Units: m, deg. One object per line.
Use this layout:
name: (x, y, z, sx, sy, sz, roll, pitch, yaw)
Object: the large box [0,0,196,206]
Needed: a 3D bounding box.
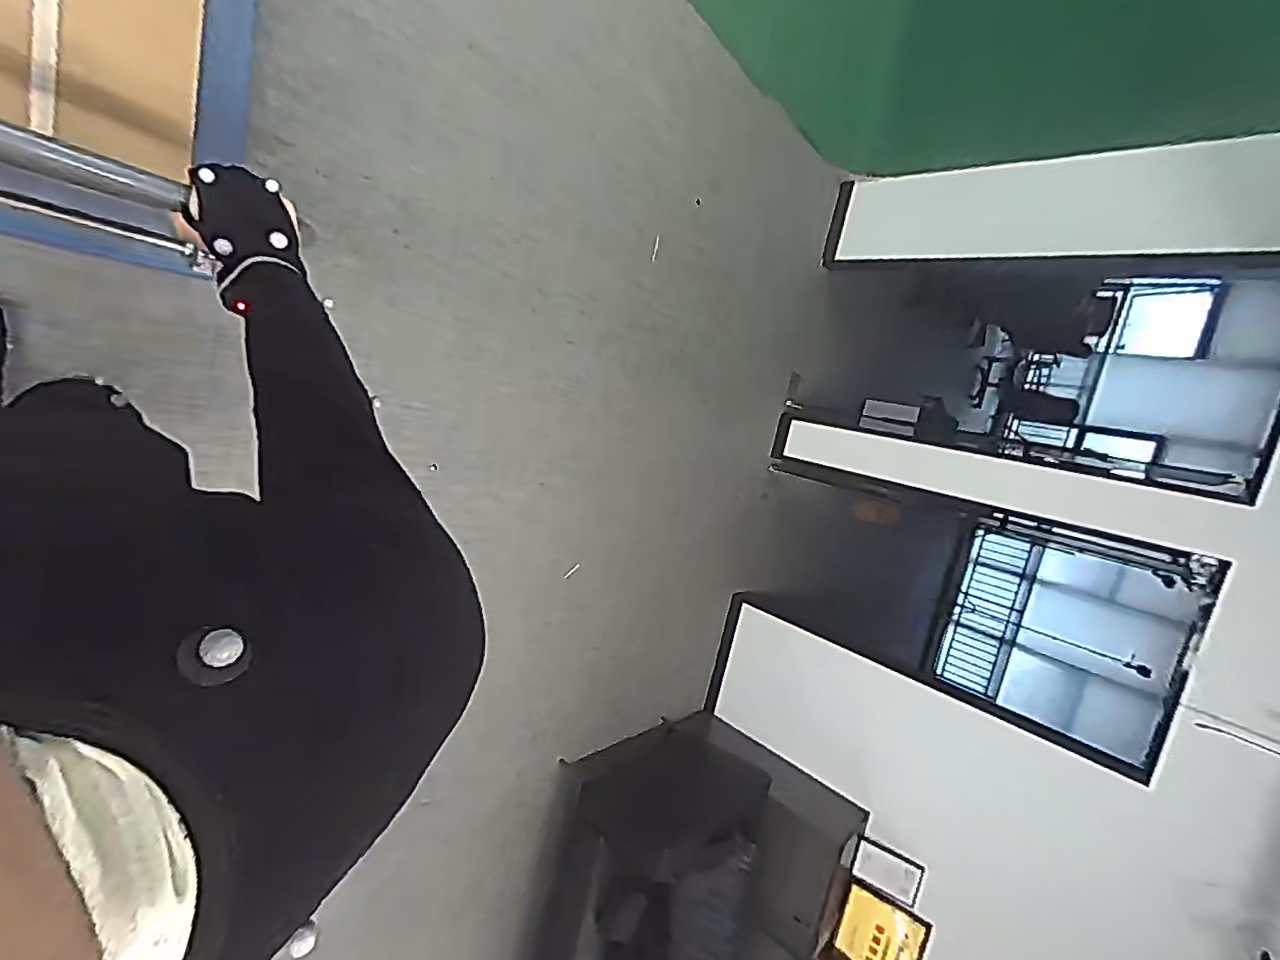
large box: (-0.880, -0.677, 0.792, 0.320, 0.320, 0.408, 2, 102, -49)
